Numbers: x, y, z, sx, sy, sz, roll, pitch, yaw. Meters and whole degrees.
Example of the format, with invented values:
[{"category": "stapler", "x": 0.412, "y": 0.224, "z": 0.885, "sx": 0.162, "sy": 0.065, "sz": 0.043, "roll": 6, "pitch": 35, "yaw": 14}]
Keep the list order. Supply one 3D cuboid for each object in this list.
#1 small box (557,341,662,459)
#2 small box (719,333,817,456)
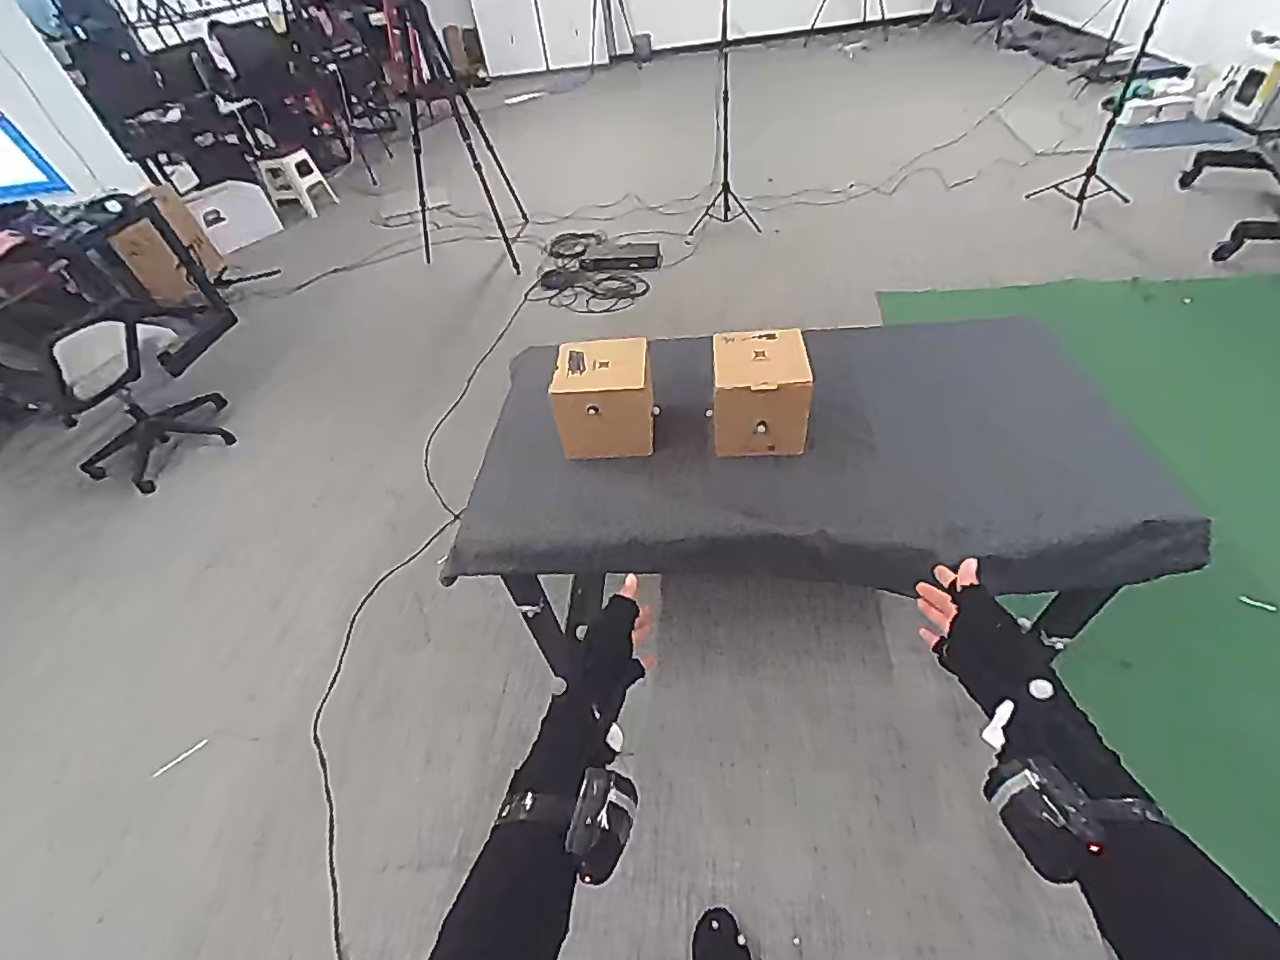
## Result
[{"category": "small box", "x": -0.053, "y": -0.156, "z": 1.078, "sx": 0.179, "sy": 0.176, "sz": 0.168, "roll": -2, "pitch": 46, "yaw": 6}, {"category": "small box", "x": 0.237, "y": -0.158, "z": 1.035, "sx": 0.168, "sy": 0.176, "sz": 0.179, "roll": -1, "pitch": 47, "yaw": 8}]
